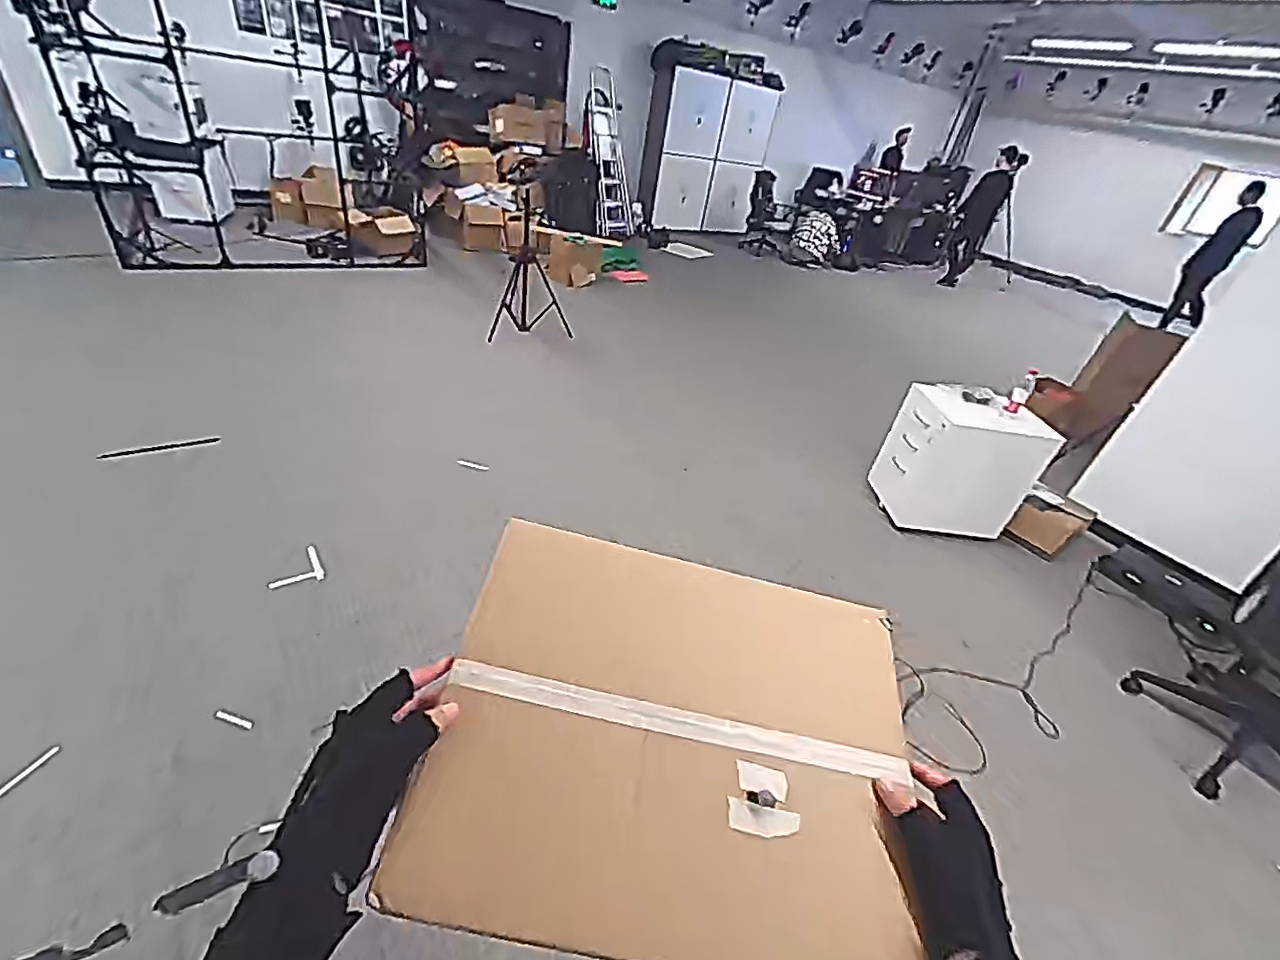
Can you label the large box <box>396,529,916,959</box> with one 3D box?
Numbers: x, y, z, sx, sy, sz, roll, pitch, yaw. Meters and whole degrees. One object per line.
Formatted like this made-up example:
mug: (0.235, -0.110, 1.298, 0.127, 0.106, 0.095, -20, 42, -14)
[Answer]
large box: (0.007, 0.300, 0.599, 0.408, 0.320, 0.320, 14, 53, -4)
